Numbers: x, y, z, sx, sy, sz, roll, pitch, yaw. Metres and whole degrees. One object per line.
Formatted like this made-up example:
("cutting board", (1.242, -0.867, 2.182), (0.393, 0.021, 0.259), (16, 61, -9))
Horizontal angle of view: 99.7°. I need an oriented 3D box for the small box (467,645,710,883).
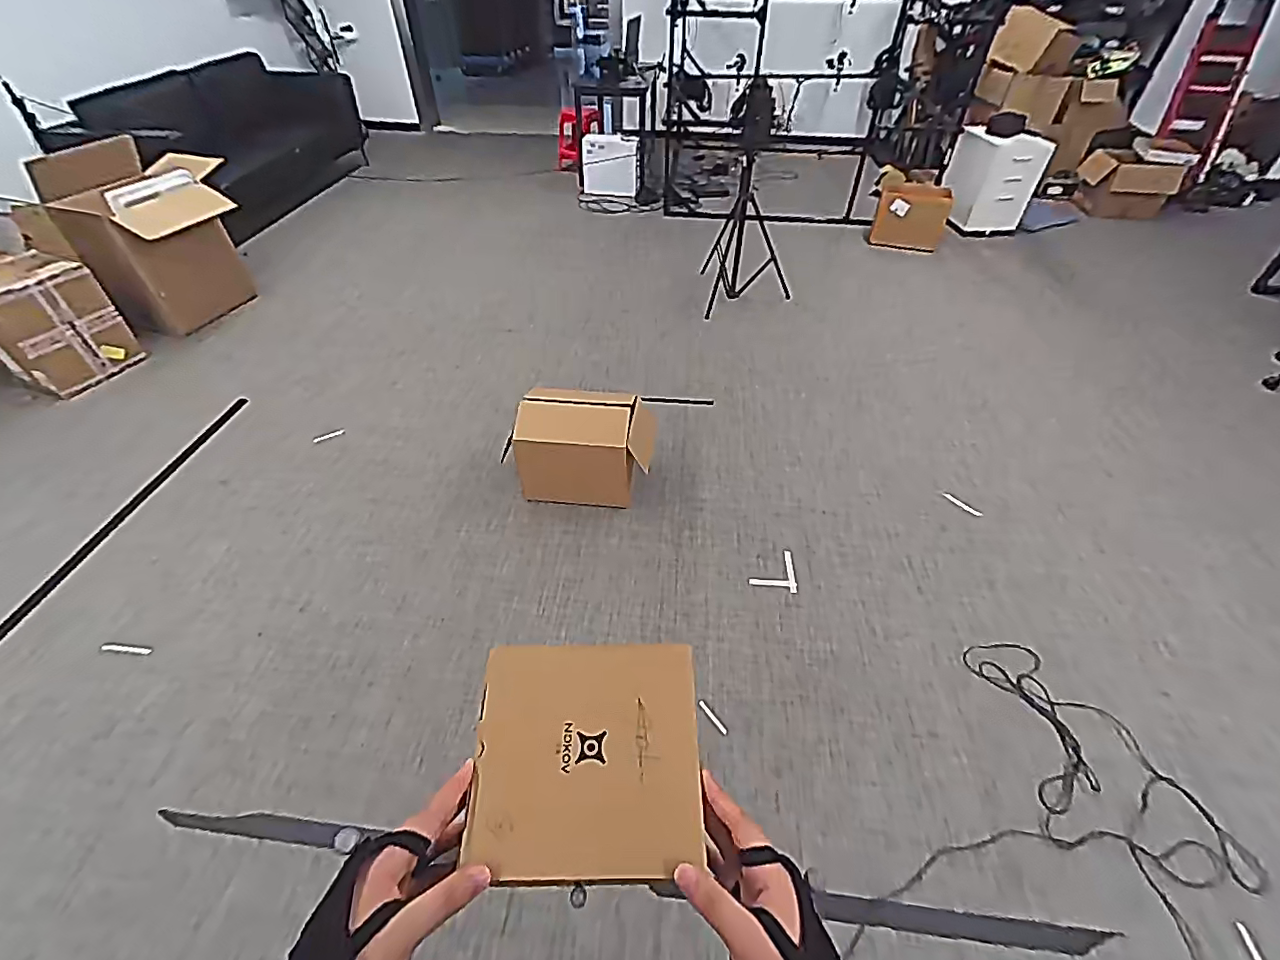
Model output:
("small box", (-0.036, 0.261, 0.491), (0.179, 0.176, 0.168), (-1, 53, -1))
